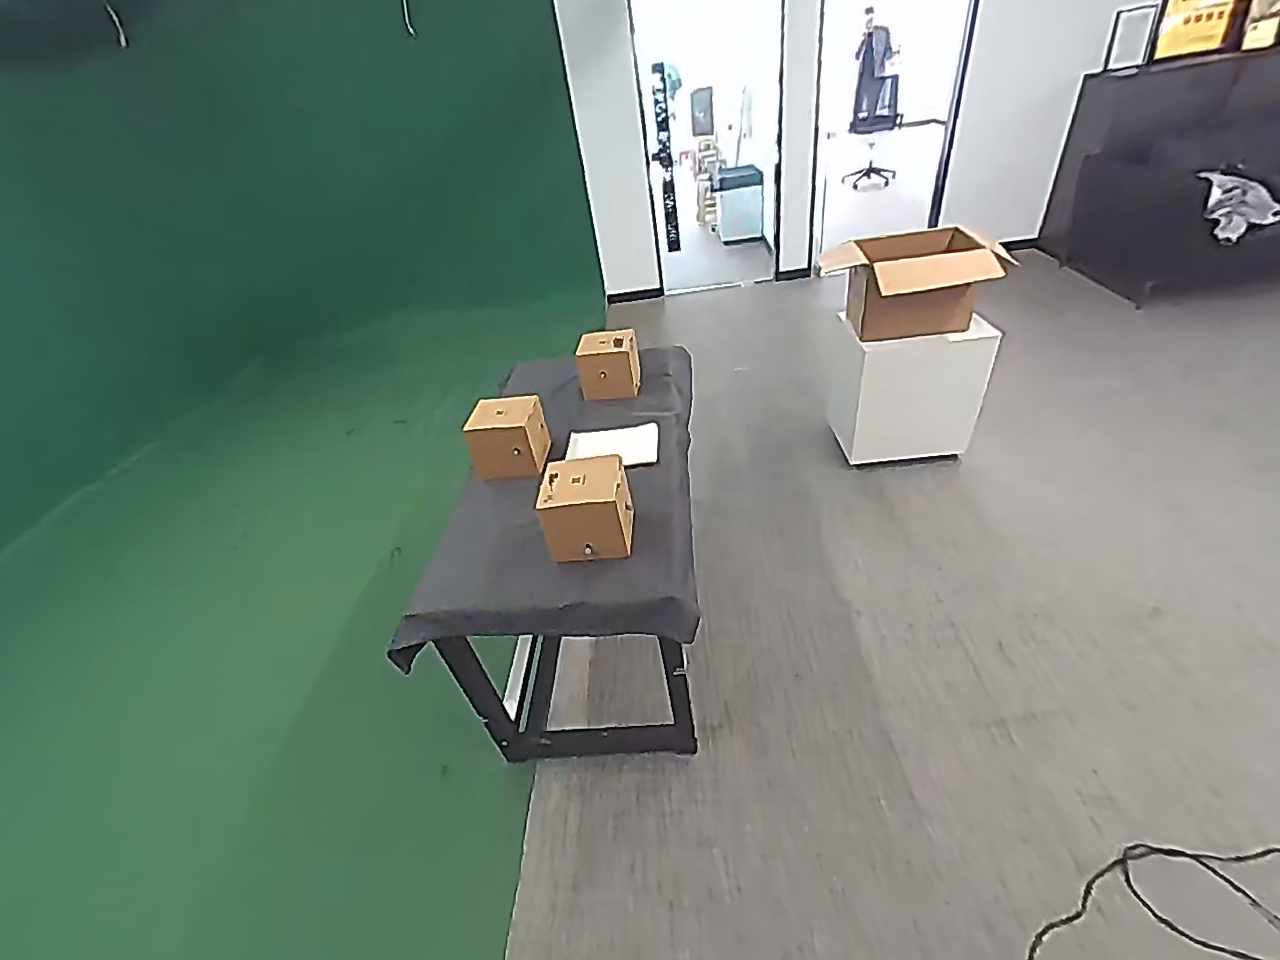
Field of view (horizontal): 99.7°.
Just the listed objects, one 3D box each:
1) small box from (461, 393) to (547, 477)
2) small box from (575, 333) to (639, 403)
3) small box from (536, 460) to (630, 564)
[{"bbox_3d":[-0.371,-0.124,1.517,0.179,0.176,0.168,-4,37,7],"label":"small box"},{"bbox_3d":[-0.103,-0.371,1.799,0.179,0.176,0.168,-3,38,9],"label":"small box"},{"bbox_3d":[-0.120,0.074,1.232,0.179,0.176,0.168,-5,37,7],"label":"small box"}]
